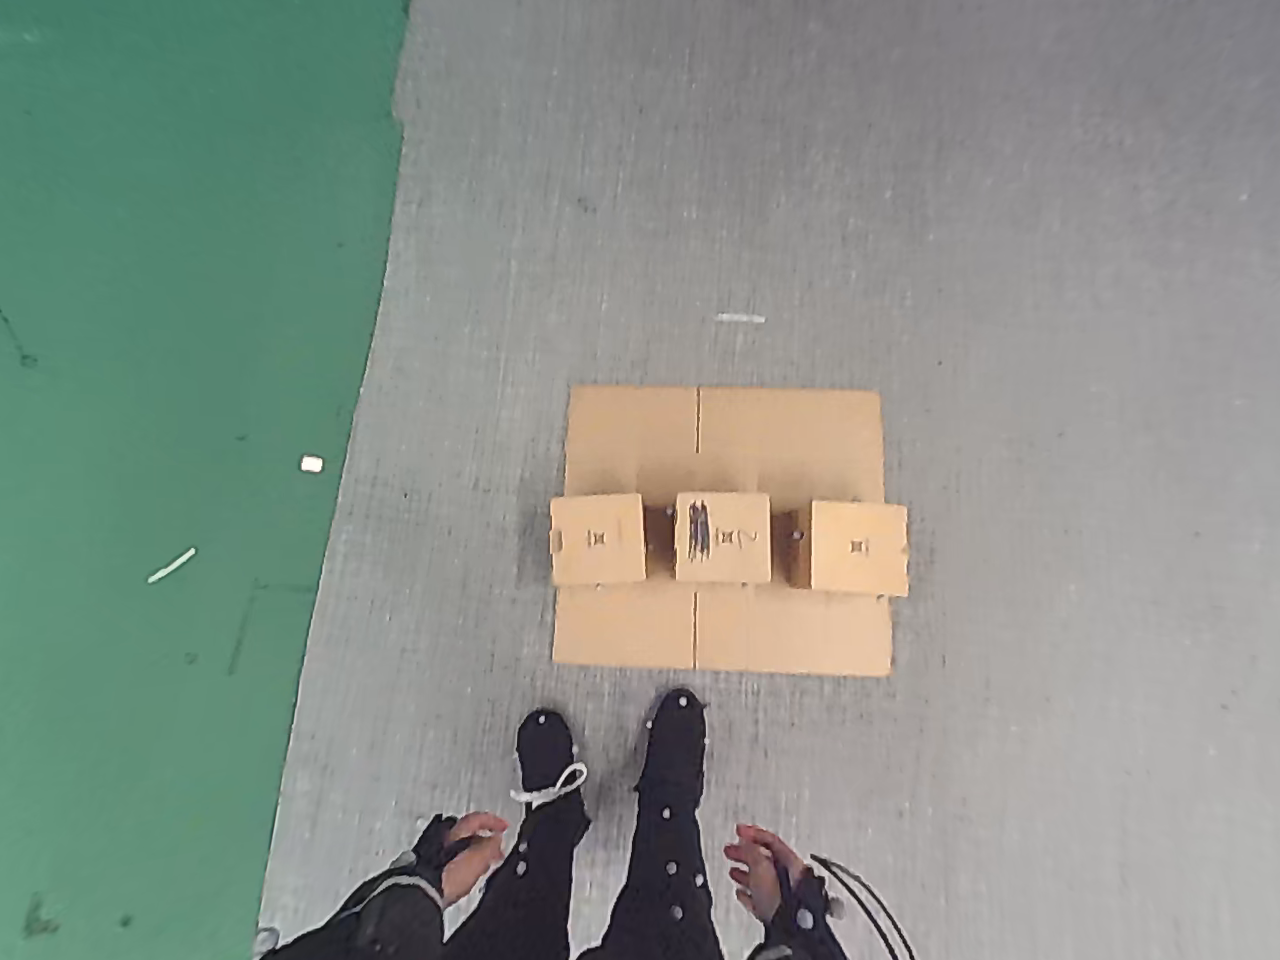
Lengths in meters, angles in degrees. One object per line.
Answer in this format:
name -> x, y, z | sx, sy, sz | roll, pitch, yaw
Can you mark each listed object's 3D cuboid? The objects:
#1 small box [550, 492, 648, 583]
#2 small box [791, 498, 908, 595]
small box -> -0.076, 0.119, 1.080 | 0.179, 0.176, 0.168 | -3, 81, 1
small box -> 0.399, 0.134, 1.056 | 0.179, 0.176, 0.168 | 3, 80, 2
